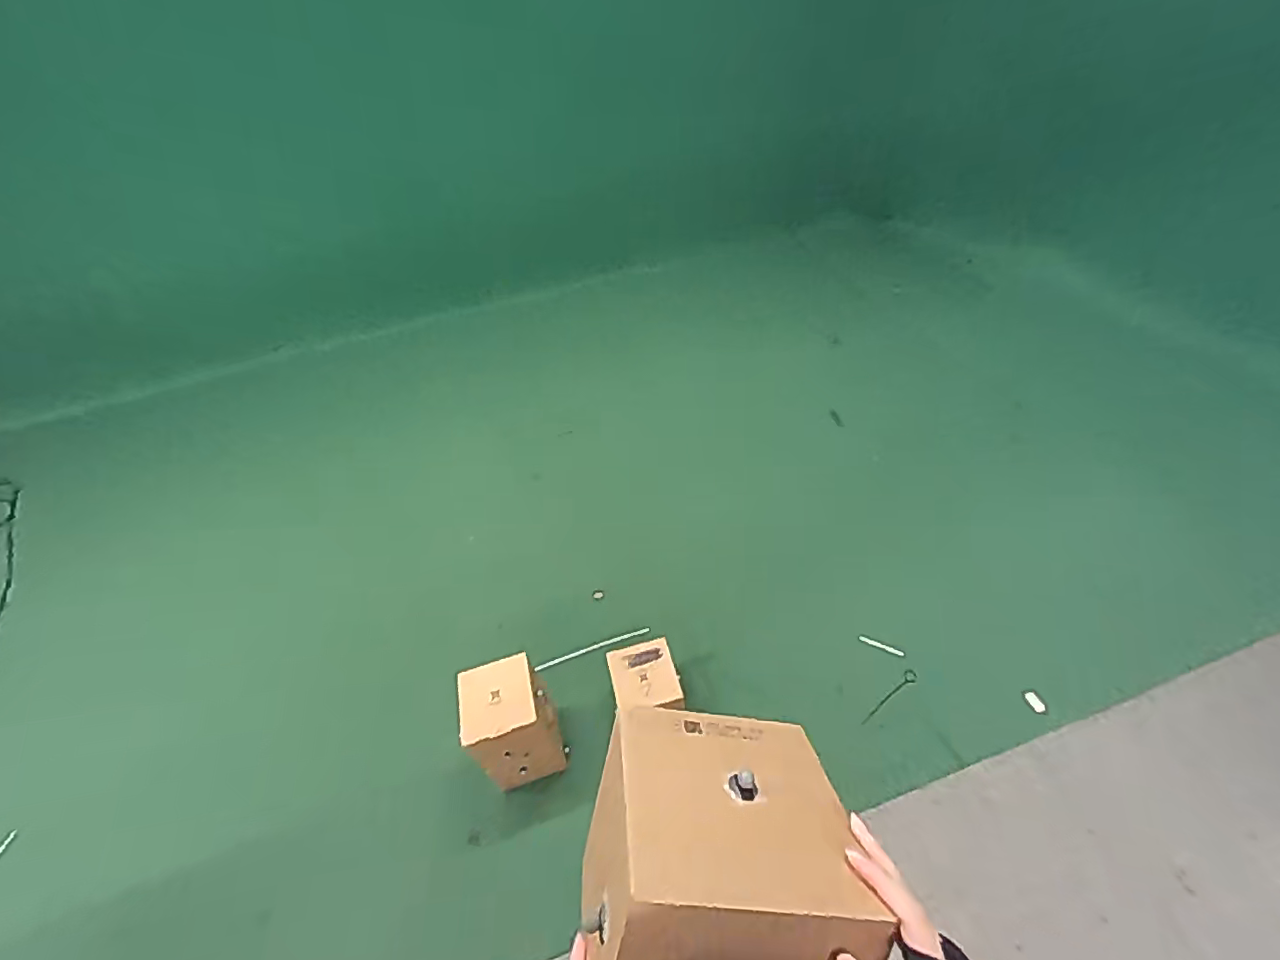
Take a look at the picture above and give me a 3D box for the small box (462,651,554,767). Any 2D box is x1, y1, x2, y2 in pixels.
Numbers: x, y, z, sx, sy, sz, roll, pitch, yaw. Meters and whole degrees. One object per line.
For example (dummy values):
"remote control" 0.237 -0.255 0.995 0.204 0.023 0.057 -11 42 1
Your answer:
"small box" -0.311 0.543 1.278 0.168 0.176 0.179 -17 45 -7

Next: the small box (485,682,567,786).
"small box" -0.295 0.656 1.394 0.179 0.176 0.168 -17 45 -7
